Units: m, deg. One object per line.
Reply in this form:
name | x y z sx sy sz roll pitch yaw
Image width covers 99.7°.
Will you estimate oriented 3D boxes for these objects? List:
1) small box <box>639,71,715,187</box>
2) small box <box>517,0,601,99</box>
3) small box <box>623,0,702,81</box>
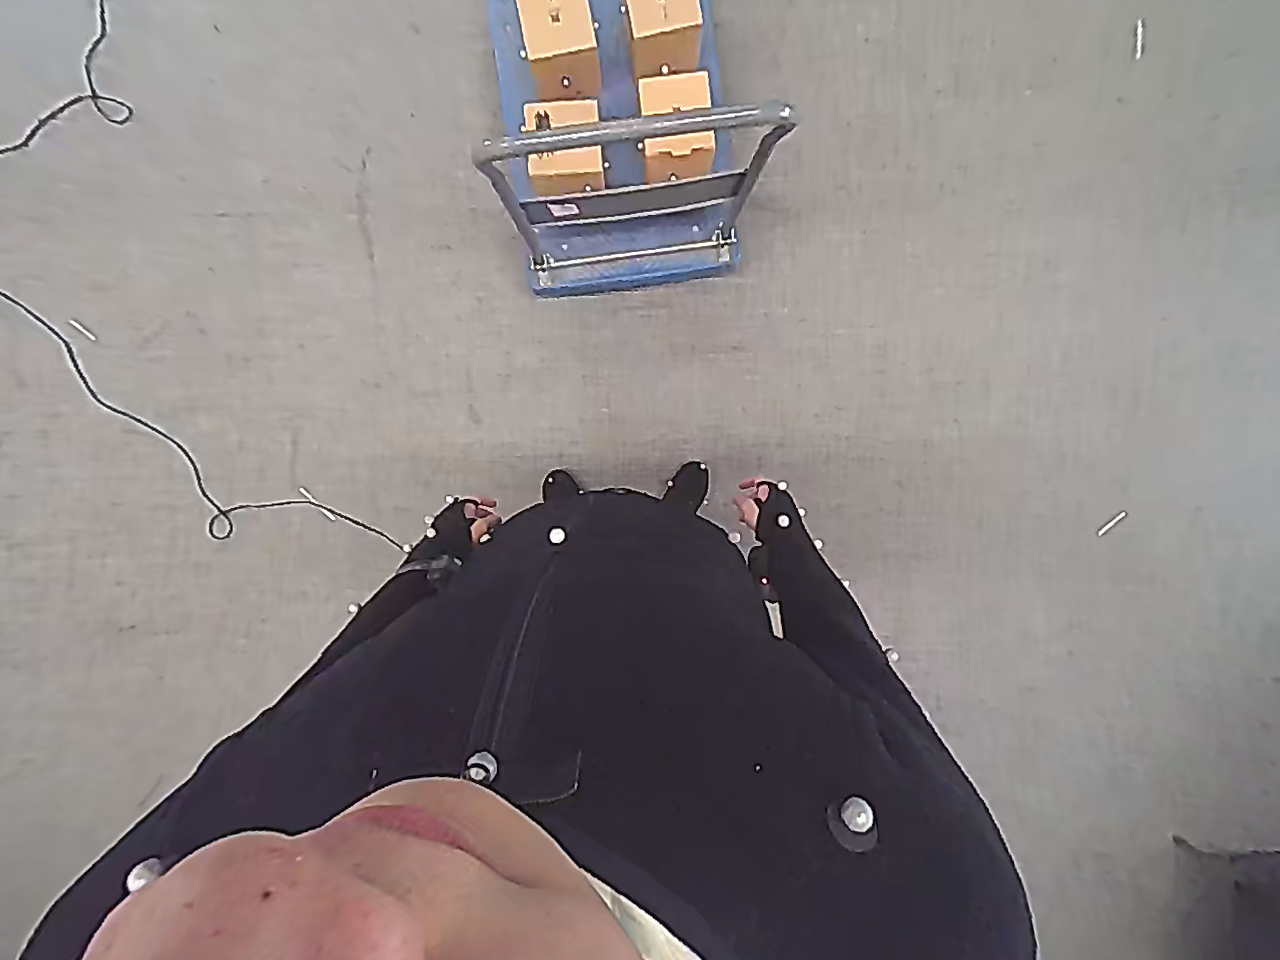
small box | 0.087 -0.869 1.352 0.168 0.176 0.179 -7 93 1
small box | -0.196 -1.086 1.342 0.168 0.176 0.179 -11 93 0
small box | 0.050 -1.137 1.336 0.168 0.176 0.179 -11 94 2
